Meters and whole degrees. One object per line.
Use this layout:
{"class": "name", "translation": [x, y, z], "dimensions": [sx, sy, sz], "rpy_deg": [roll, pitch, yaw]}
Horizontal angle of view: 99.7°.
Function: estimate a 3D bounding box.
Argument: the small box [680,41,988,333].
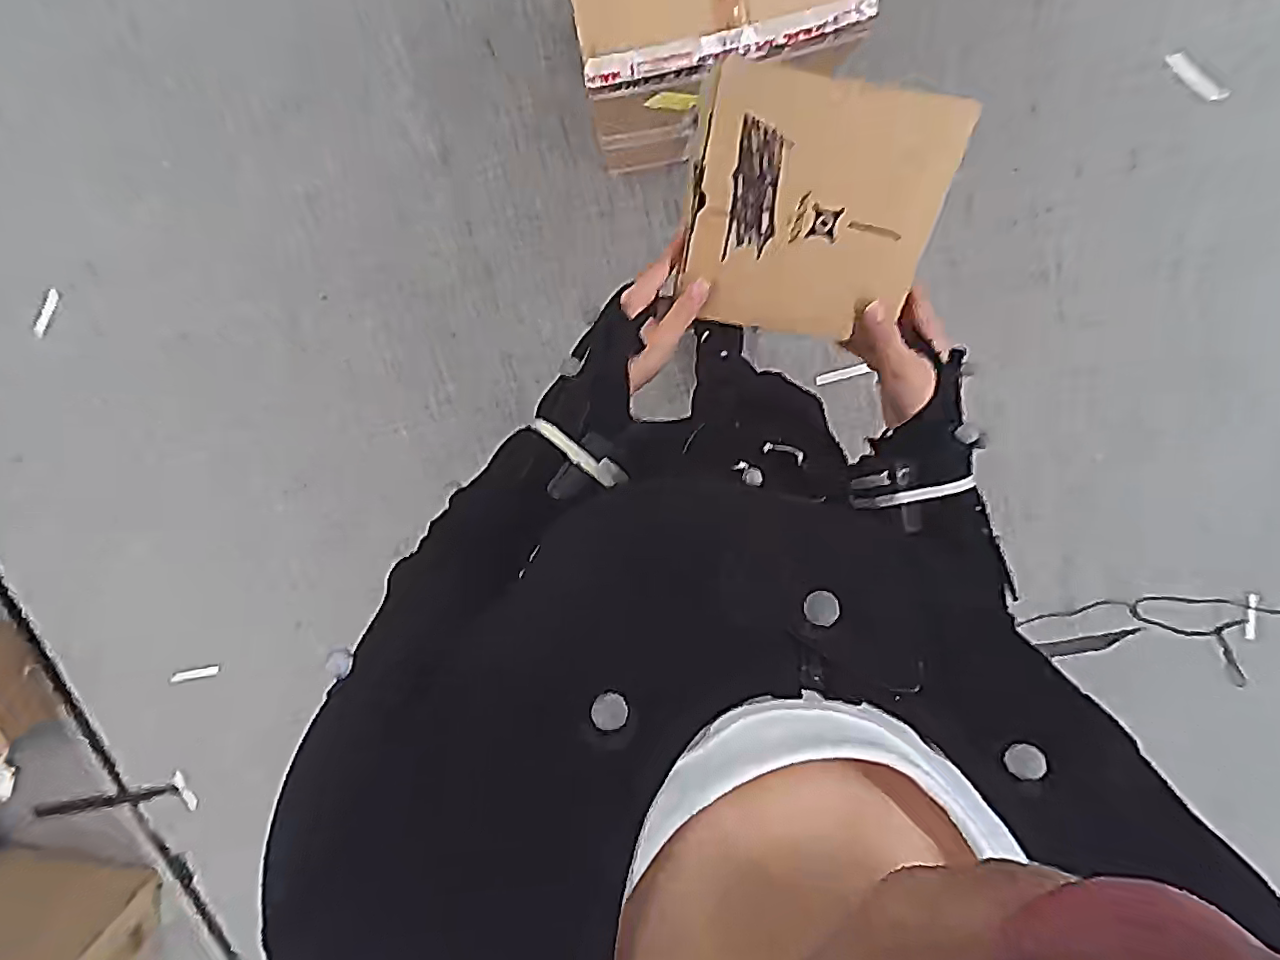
{"class": "small box", "translation": [0.132, -0.239, 0.455], "dimensions": [0.179, 0.176, 0.168], "rpy_deg": [8, 122, -3]}
